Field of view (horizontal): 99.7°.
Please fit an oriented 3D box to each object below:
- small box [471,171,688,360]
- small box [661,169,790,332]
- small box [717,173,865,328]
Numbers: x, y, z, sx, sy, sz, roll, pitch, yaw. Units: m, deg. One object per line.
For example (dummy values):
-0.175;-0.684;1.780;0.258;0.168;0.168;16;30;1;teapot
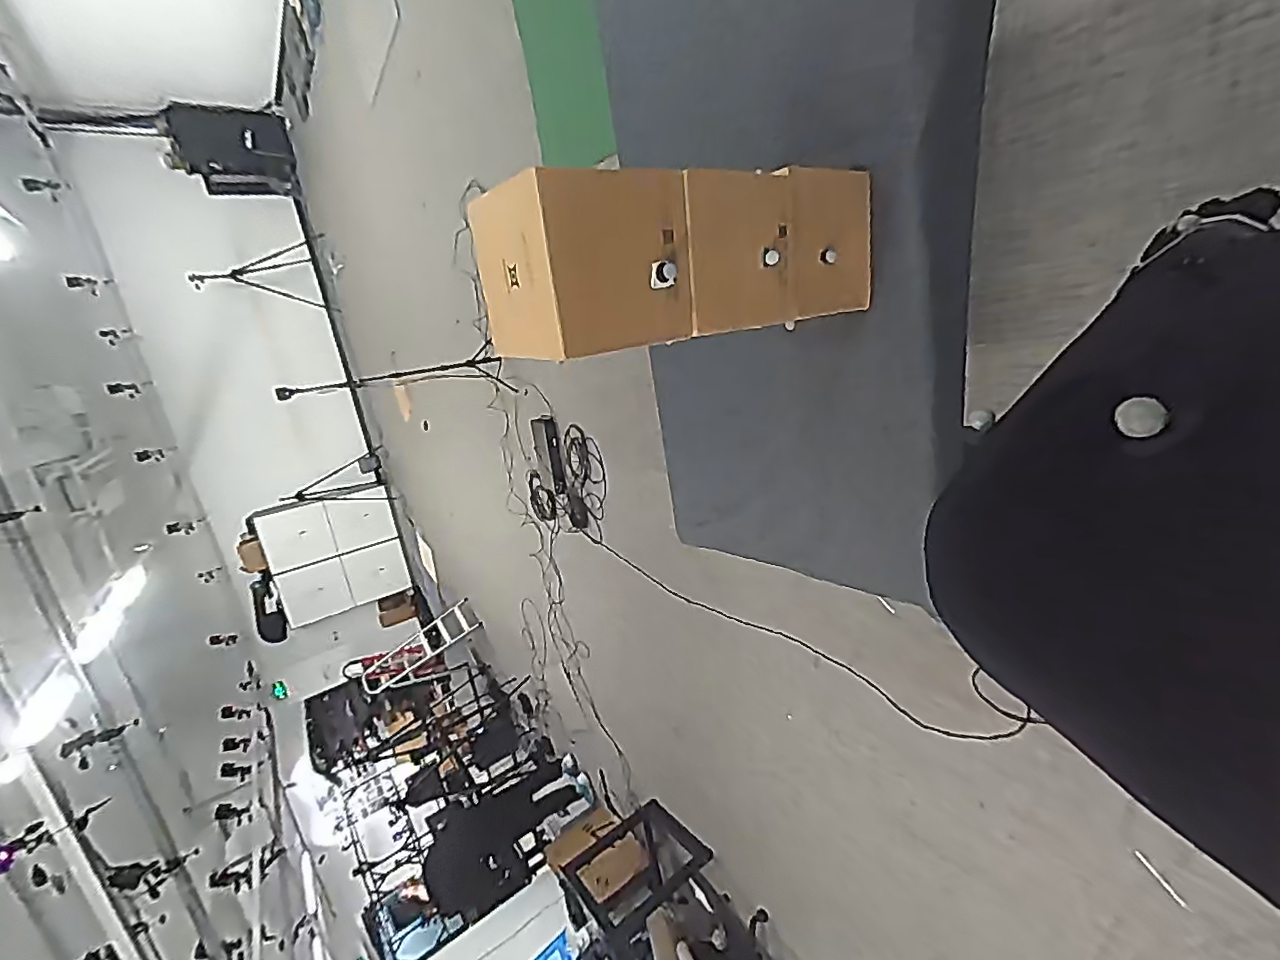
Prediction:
-0.065;-0.233;0.605;0.179;0.176;0.168;18;122;51;small box
0.067;-0.278;0.687;0.179;0.176;0.168;17;119;55;small box
0.202;-0.322;0.770;0.168;0.176;0.179;16;119;53;small box
